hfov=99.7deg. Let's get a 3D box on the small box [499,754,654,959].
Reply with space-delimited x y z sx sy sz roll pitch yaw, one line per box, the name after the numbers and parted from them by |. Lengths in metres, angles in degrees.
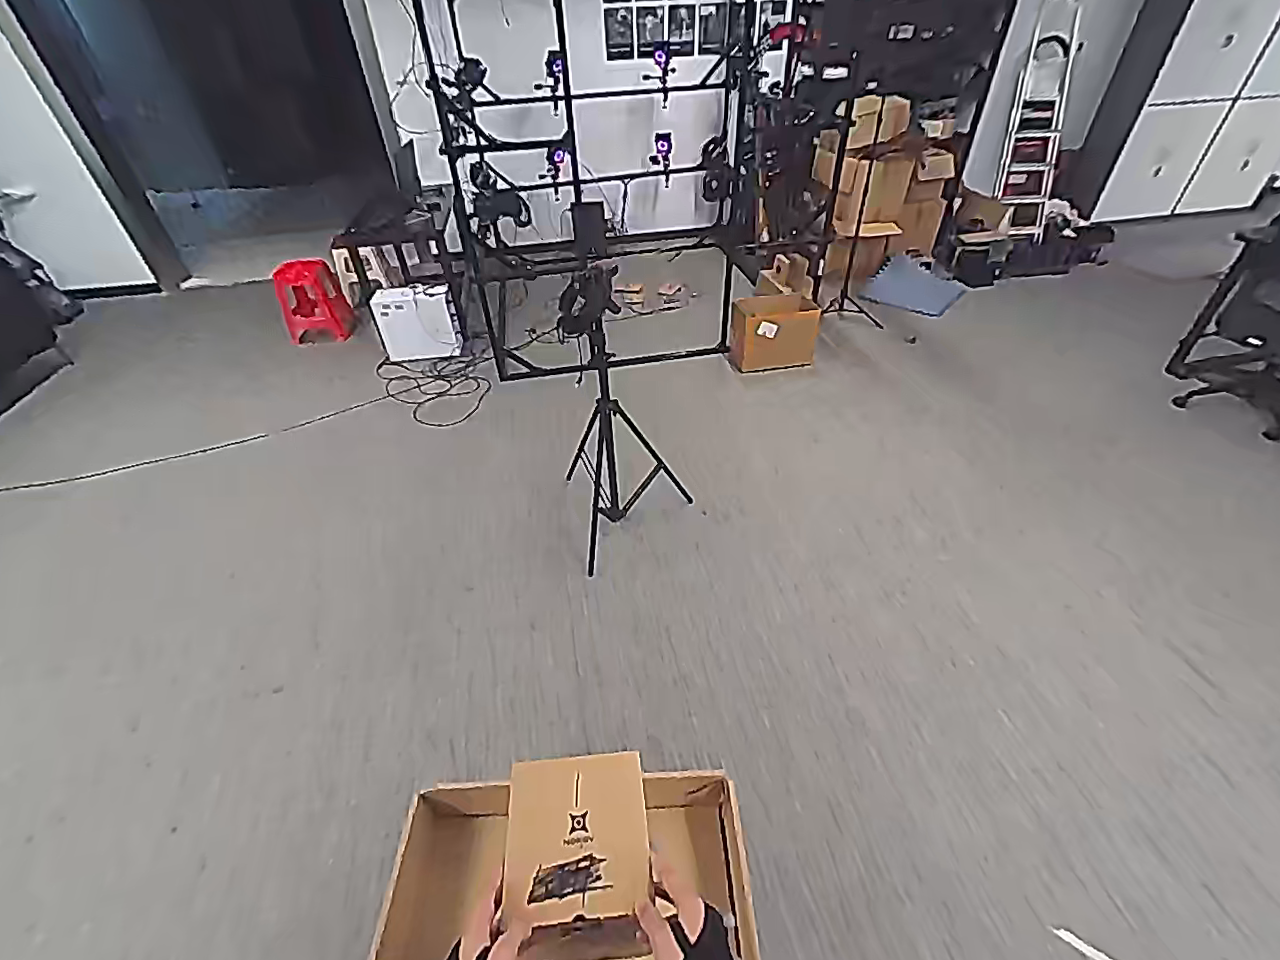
-0.073 0.476 0.675 0.168 0.176 0.179 -3 37 -6 | small box
